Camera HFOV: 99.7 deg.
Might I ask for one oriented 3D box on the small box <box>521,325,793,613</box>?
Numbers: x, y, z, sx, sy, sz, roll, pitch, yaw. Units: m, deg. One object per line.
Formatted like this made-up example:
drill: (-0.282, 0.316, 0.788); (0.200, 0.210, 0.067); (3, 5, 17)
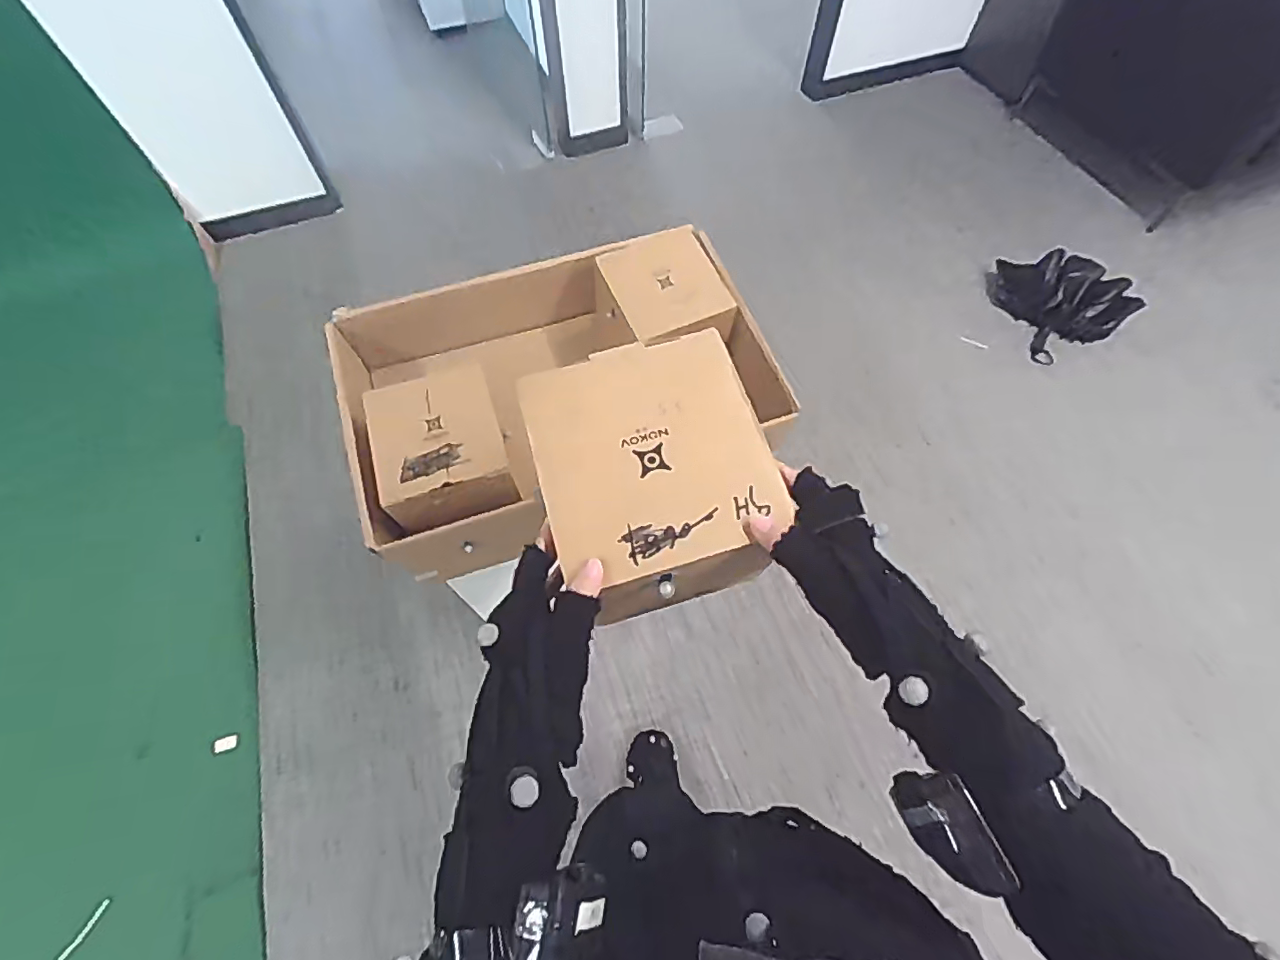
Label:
small box: (0.008, 0.001, 0.472); (0.168, 0.176, 0.179); (-16, 69, -4)
